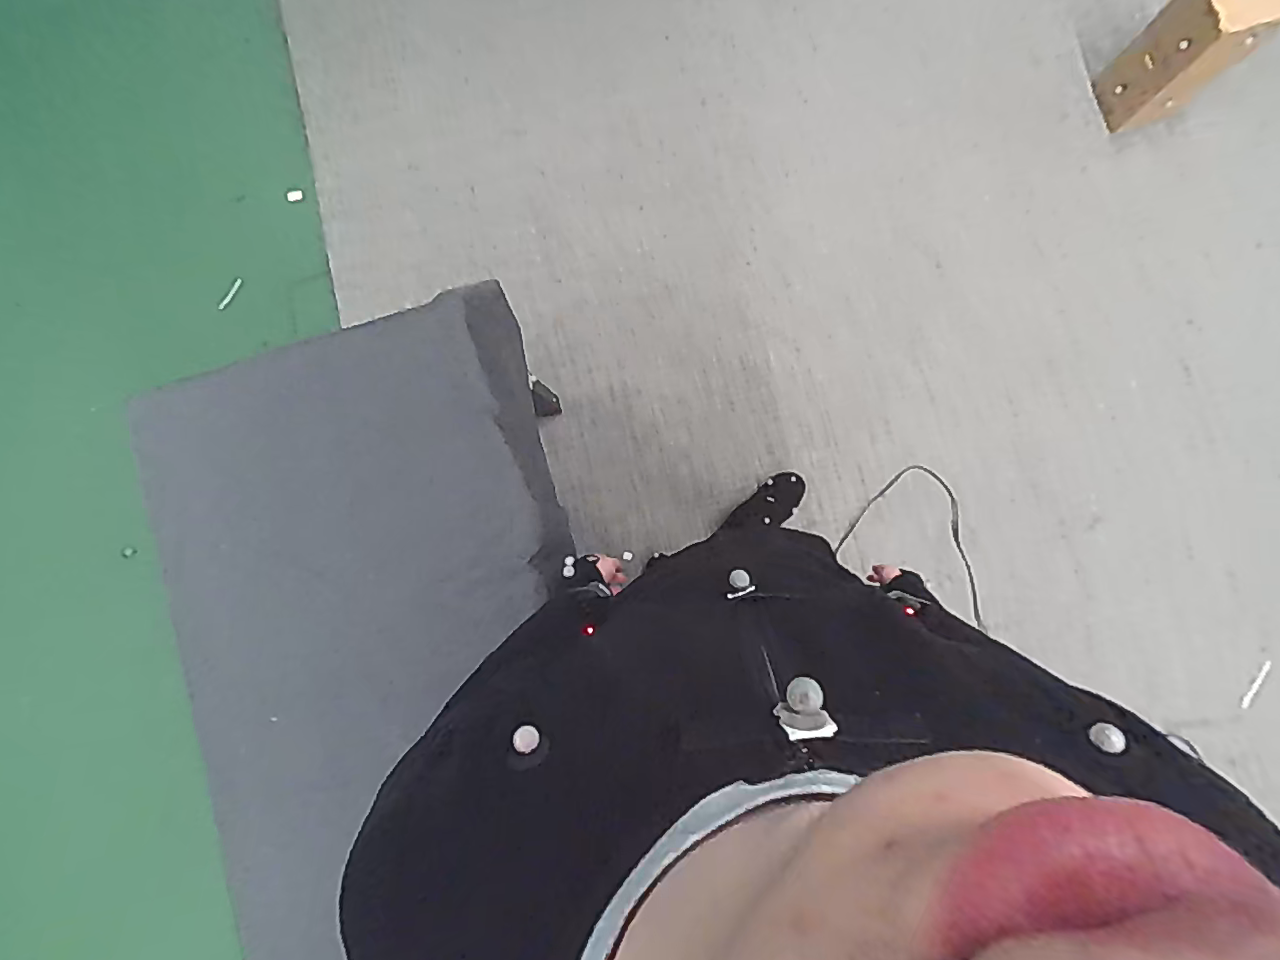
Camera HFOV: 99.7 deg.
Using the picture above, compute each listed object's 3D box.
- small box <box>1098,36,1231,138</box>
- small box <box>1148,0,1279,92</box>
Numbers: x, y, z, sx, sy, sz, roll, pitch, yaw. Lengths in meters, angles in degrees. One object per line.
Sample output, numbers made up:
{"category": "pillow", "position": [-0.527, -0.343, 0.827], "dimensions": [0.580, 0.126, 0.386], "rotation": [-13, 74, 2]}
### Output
{"category": "small box", "position": [1.360, -1.045, 1.421], "dimensions": [0.179, 0.176, 0.168], "rotation": [-16, 85, 5]}
{"category": "small box", "position": [1.346, -1.054, 1.259], "dimensions": [0.179, 0.176, 0.168], "rotation": [-15, 86, 3]}
